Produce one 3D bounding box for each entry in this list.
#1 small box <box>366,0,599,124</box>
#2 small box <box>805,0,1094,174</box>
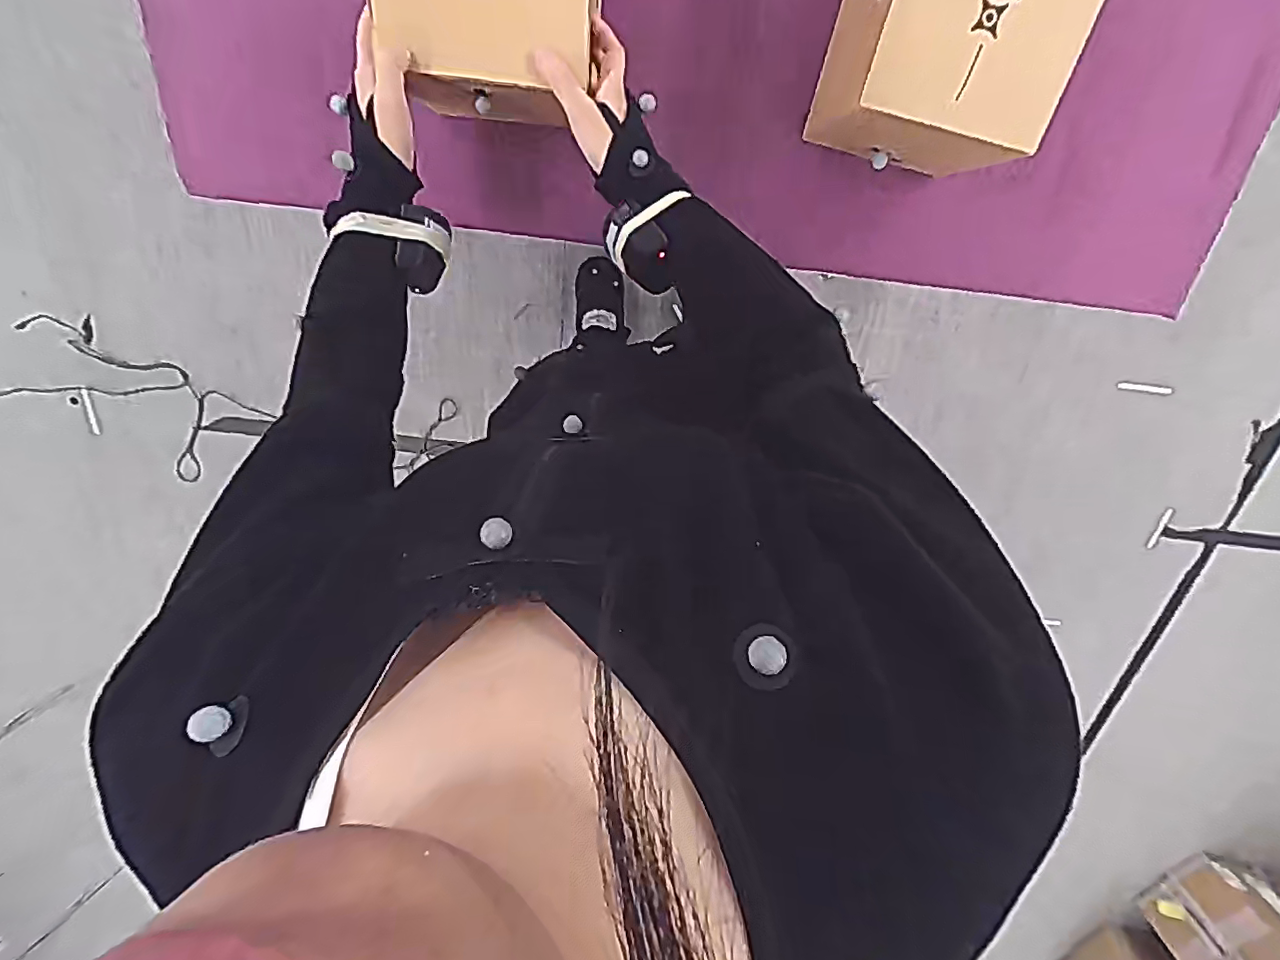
[{"bbox_3d":[-0.127,-0.436,0.487,0.179,0.176,0.168,5,115,-3],"label":"small box"},{"bbox_3d":[0.275,-0.409,0.505,0.168,0.176,0.179,12,114,-6],"label":"small box"}]
